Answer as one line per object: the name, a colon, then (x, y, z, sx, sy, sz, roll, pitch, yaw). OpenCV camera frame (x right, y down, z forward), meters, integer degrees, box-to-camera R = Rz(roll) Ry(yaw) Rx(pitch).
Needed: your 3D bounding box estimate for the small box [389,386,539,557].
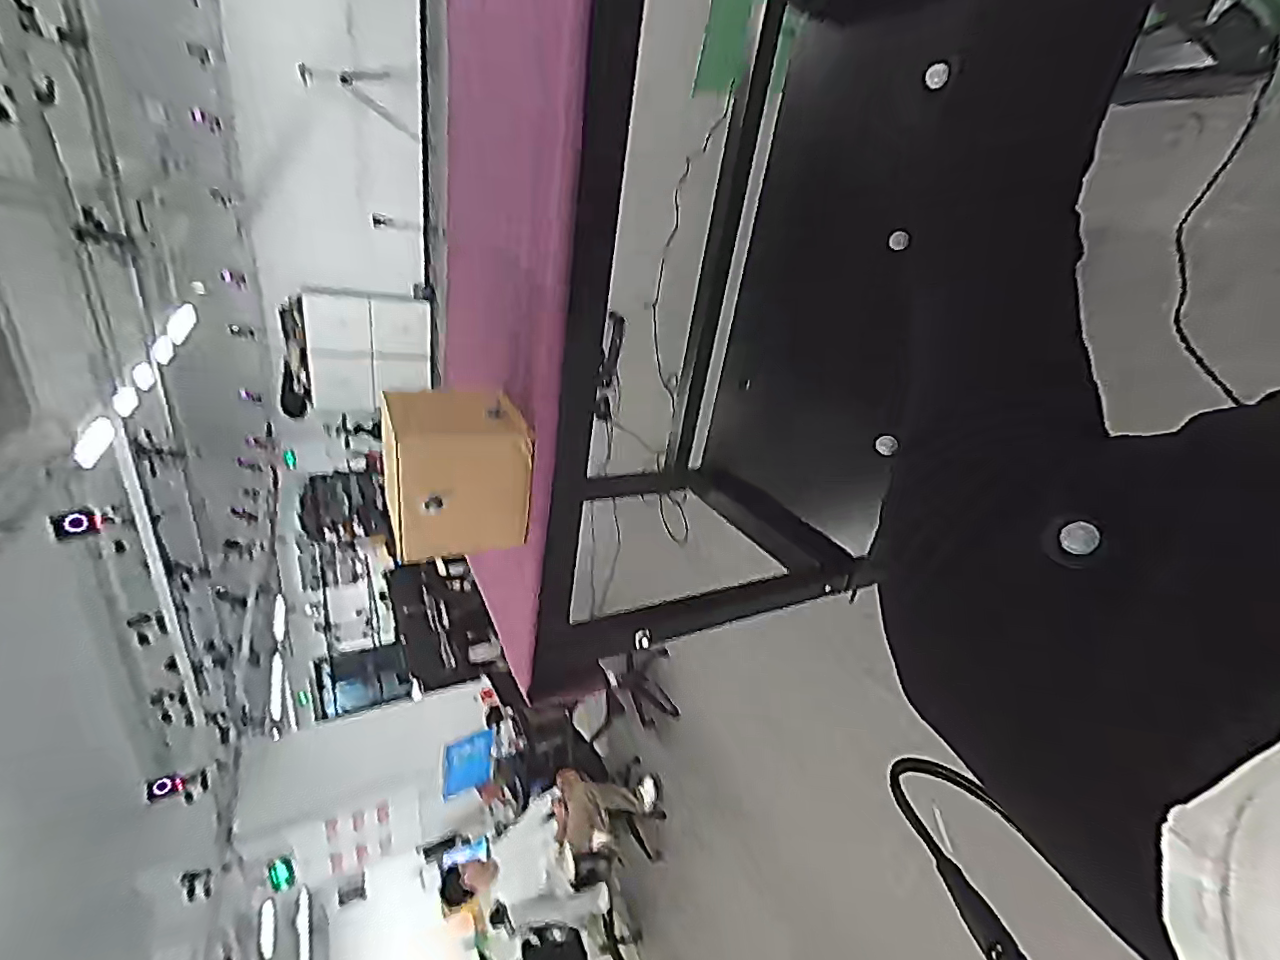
small box: (-0.245, -0.018, 0.745, 0.168, 0.176, 0.179, 45, 131, 50)
